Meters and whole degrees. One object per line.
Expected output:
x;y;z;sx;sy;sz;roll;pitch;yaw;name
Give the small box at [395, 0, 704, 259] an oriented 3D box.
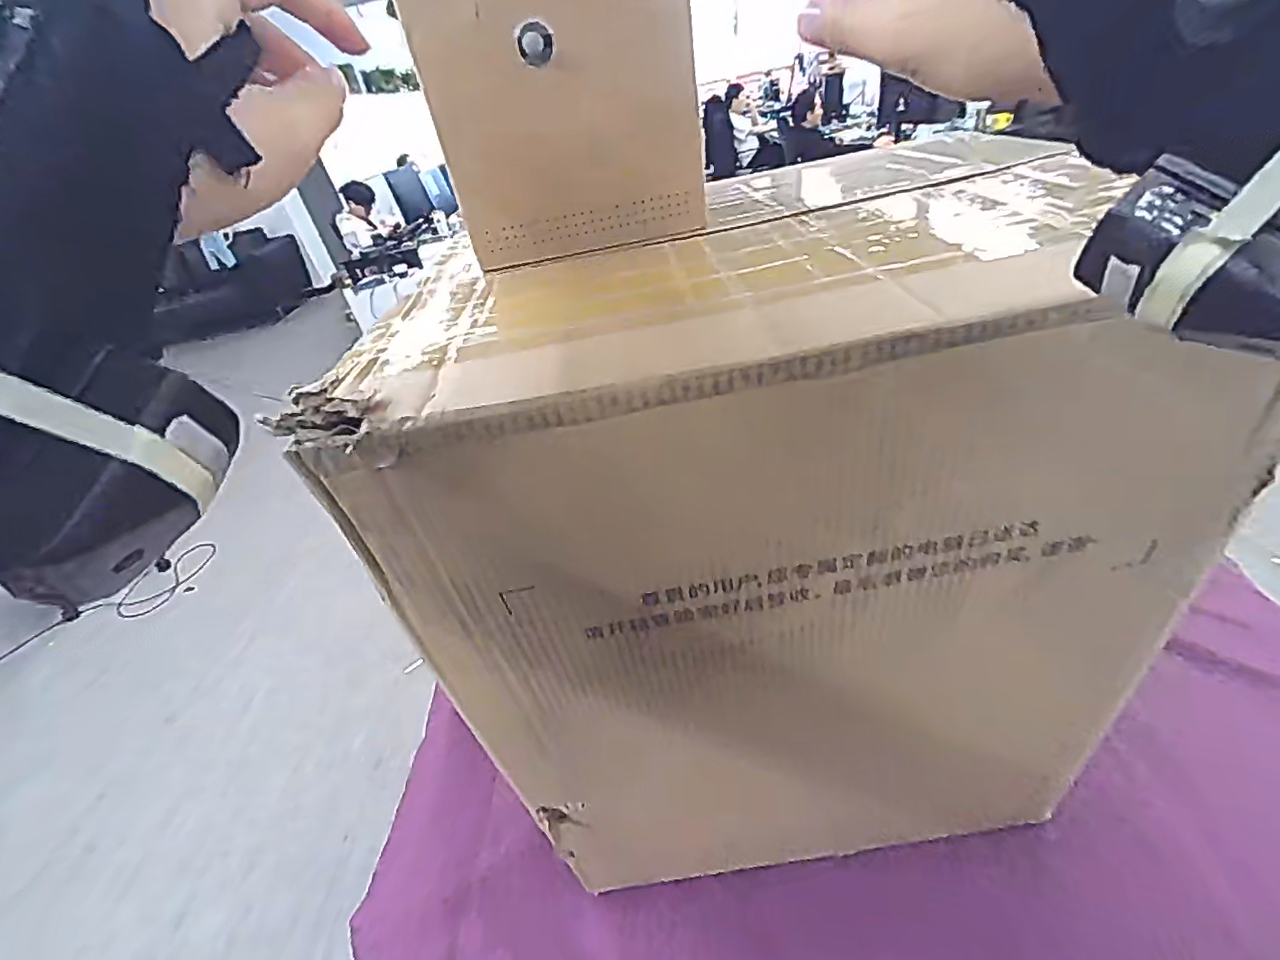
-0.056;-0.284;0.417;0.179;0.176;0.168;-11;37;-1;small box
